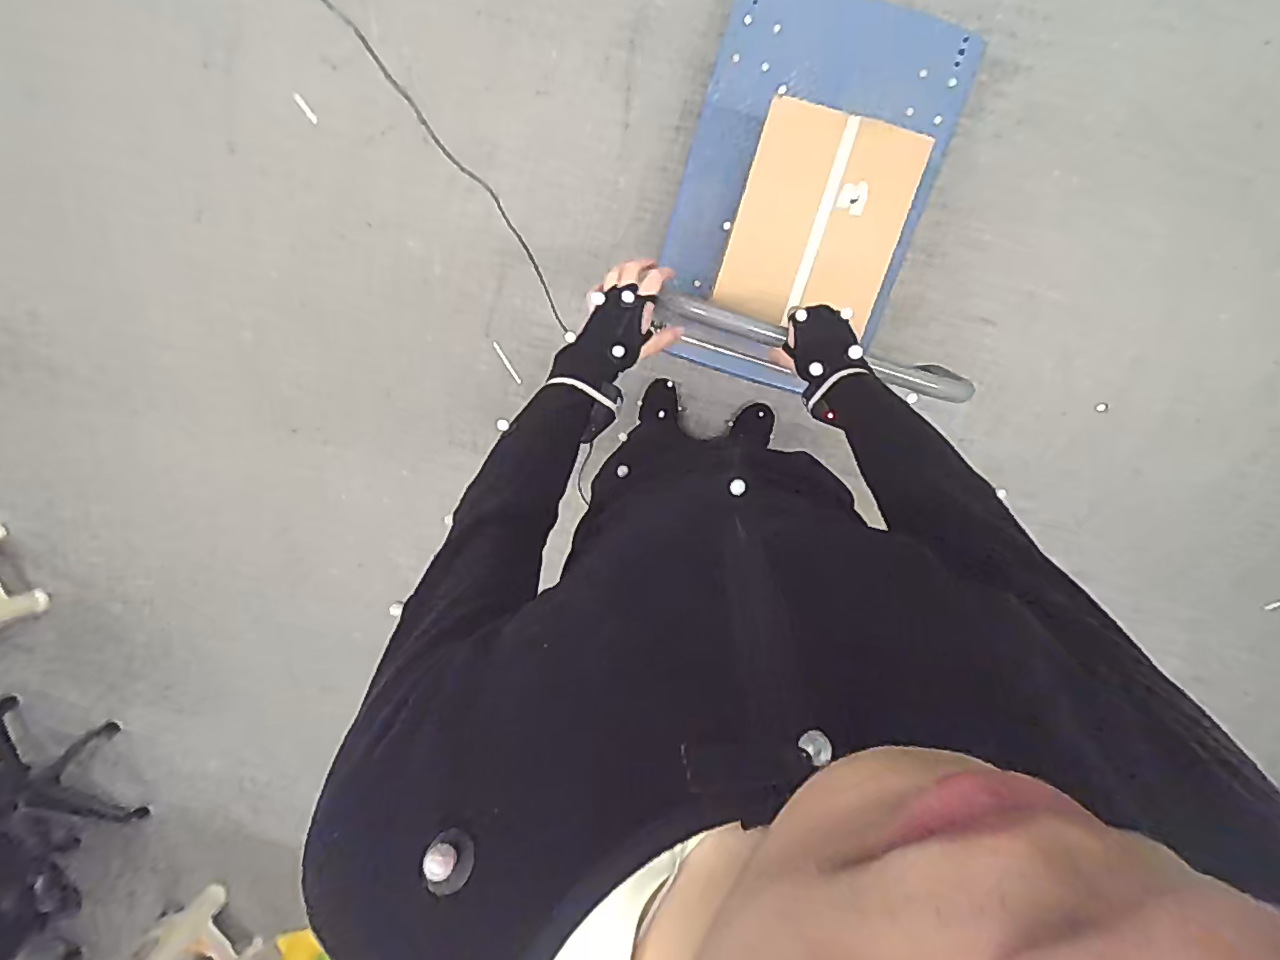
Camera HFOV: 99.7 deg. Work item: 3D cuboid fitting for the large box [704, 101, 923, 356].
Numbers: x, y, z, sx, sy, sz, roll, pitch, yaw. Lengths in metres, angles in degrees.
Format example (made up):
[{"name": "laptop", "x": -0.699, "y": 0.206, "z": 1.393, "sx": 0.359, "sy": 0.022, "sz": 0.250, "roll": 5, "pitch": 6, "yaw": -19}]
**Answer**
[{"name": "large box", "x": 0.345, "y": -0.514, "z": 1.199, "sx": 0.320, "sy": 0.320, "sz": 0.408, "roll": 17, "pitch": 101, "yaw": 0}]
